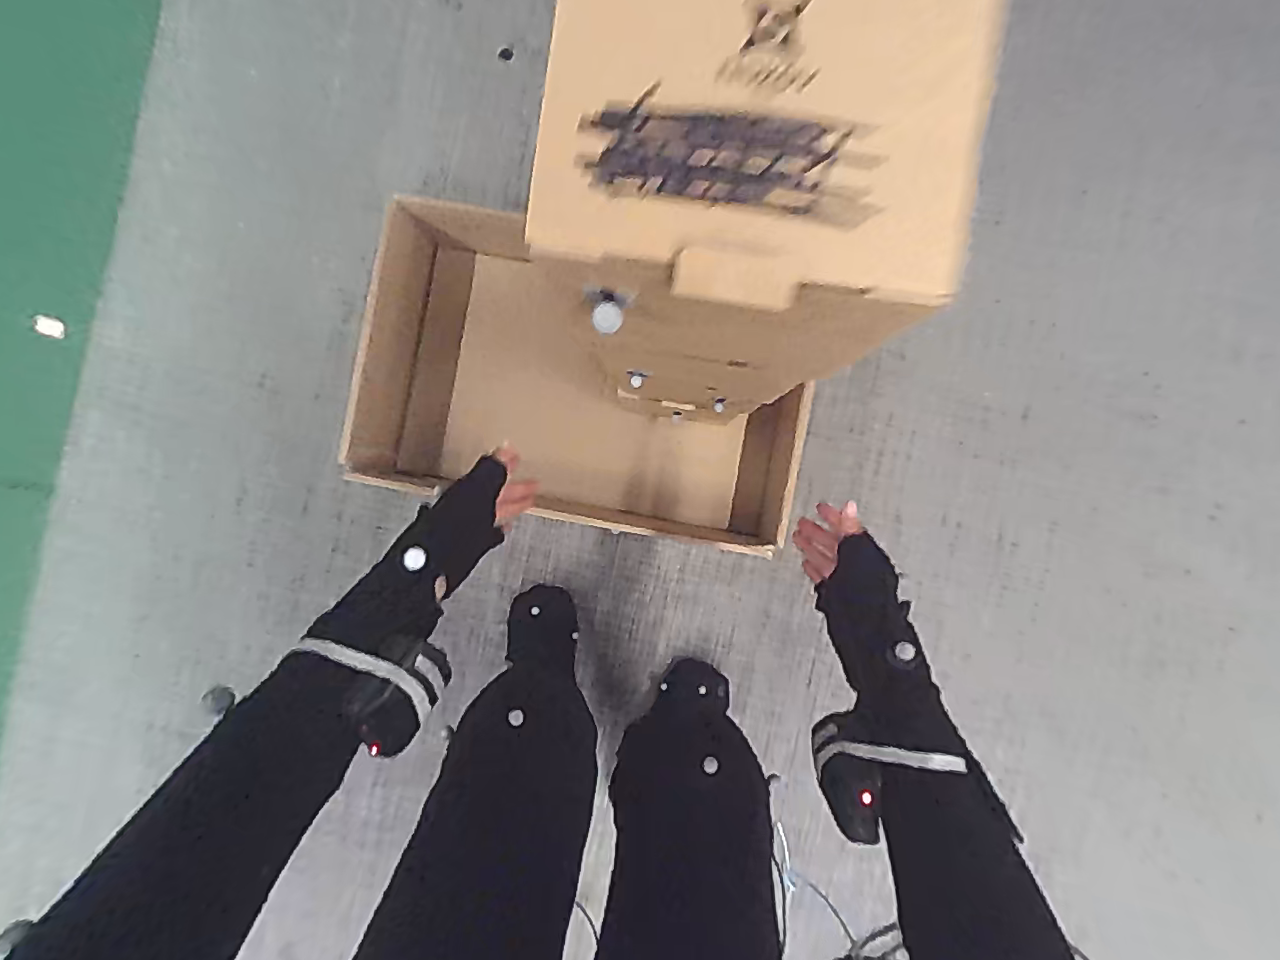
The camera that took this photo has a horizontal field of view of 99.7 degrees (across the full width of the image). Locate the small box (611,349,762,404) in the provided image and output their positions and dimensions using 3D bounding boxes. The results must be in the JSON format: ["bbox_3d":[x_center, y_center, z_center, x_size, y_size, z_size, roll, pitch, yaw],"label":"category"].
[{"bbox_3d":[0.072,-0.187,0.592,0.168,0.176,0.179,11,91,2],"label":"small box"}]

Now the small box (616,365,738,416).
[{"bbox_3d":[0.064,-0.191,0.773,0.168,0.176,0.179,7,90,3],"label":"small box"}]

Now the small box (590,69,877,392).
[{"bbox_3d":[0.064,-0.178,0.444,0.168,0.176,0.179,12,91,1],"label":"small box"}]
